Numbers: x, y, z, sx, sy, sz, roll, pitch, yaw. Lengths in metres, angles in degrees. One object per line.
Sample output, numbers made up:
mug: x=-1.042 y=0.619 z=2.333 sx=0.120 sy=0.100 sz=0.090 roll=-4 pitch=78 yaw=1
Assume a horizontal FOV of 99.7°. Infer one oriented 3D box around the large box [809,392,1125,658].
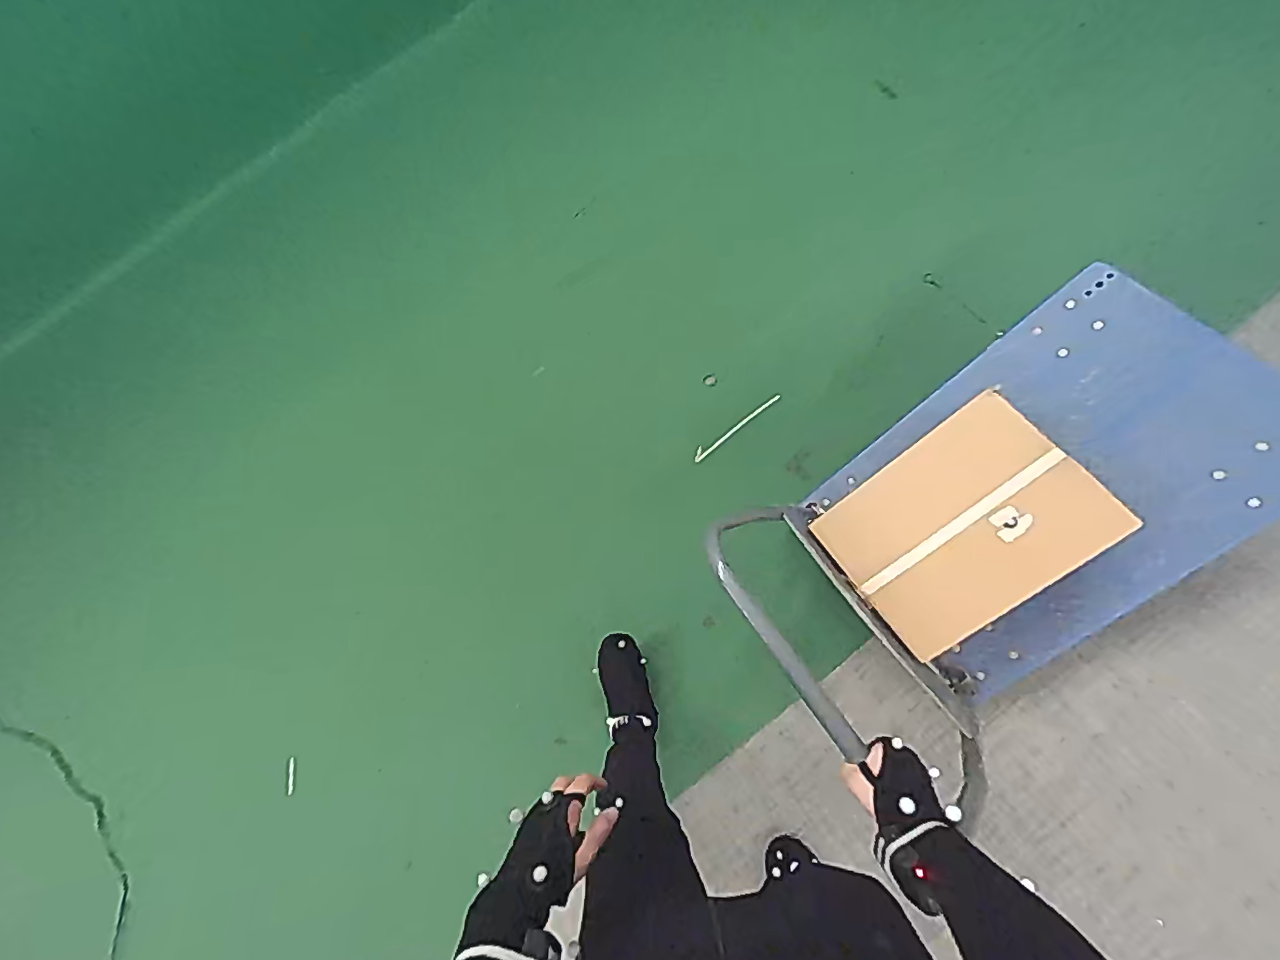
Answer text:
large box: x=0.621 y=0.101 z=1.101 sx=0.408 sy=0.320 sz=0.320 roll=-41 pitch=68 yaw=15
